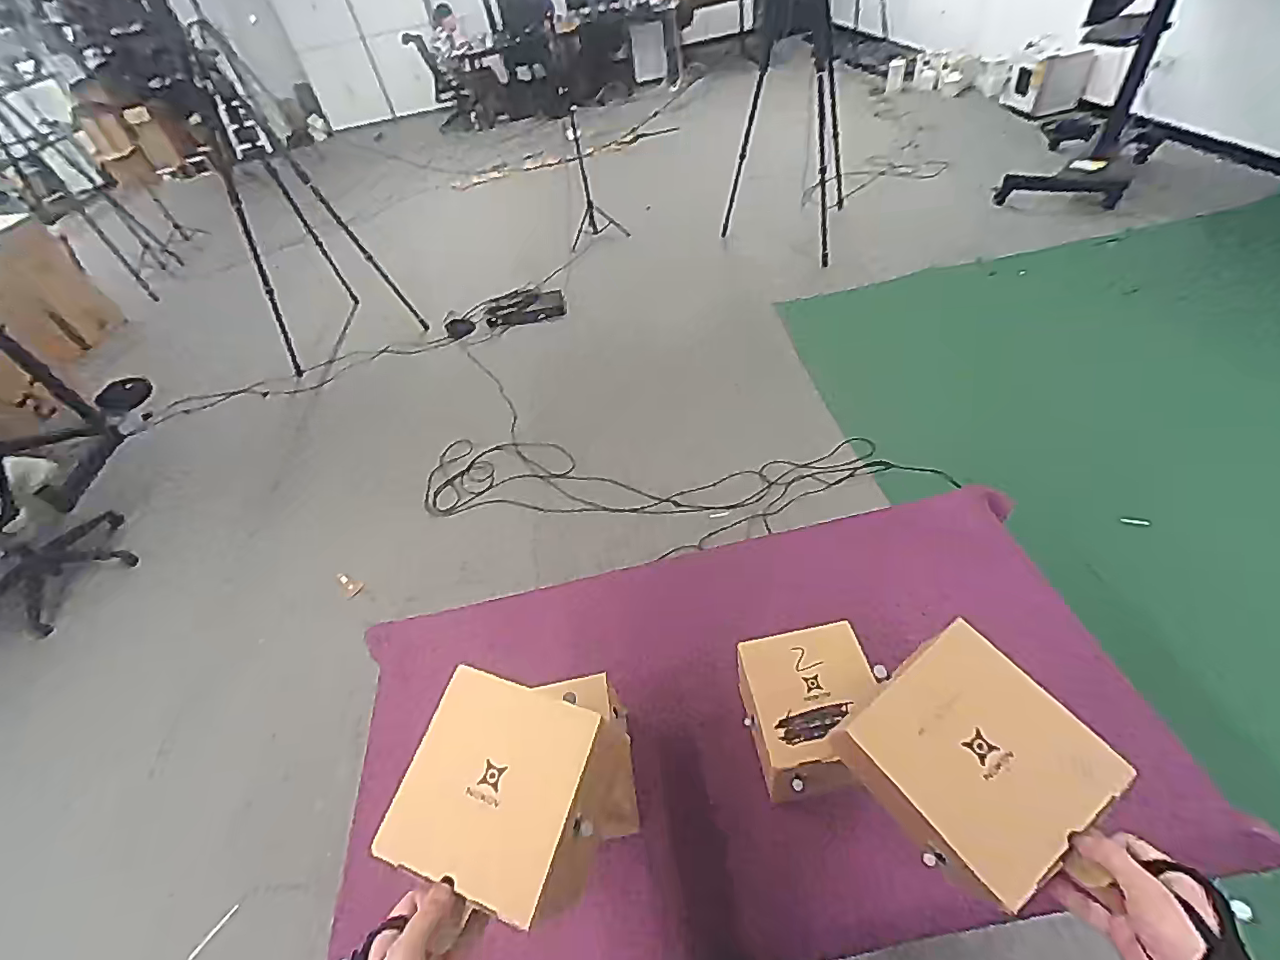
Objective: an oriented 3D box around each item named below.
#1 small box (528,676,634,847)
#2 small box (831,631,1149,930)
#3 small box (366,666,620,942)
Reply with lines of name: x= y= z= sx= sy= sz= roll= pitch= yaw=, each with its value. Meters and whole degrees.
small box: x=-0.109 y=0.412 z=0.774 sx=0.168 sy=0.176 sz=0.179 roll=-12 pitch=47 yaw=1
small box: x=0.319 y=0.284 z=0.540 sx=0.168 sy=0.176 sz=0.179 roll=-36 pitch=61 yaw=-10
small box: x=-0.129 y=0.318 z=0.558 sx=0.168 sy=0.176 sz=0.179 roll=13 pitch=63 yaw=17
